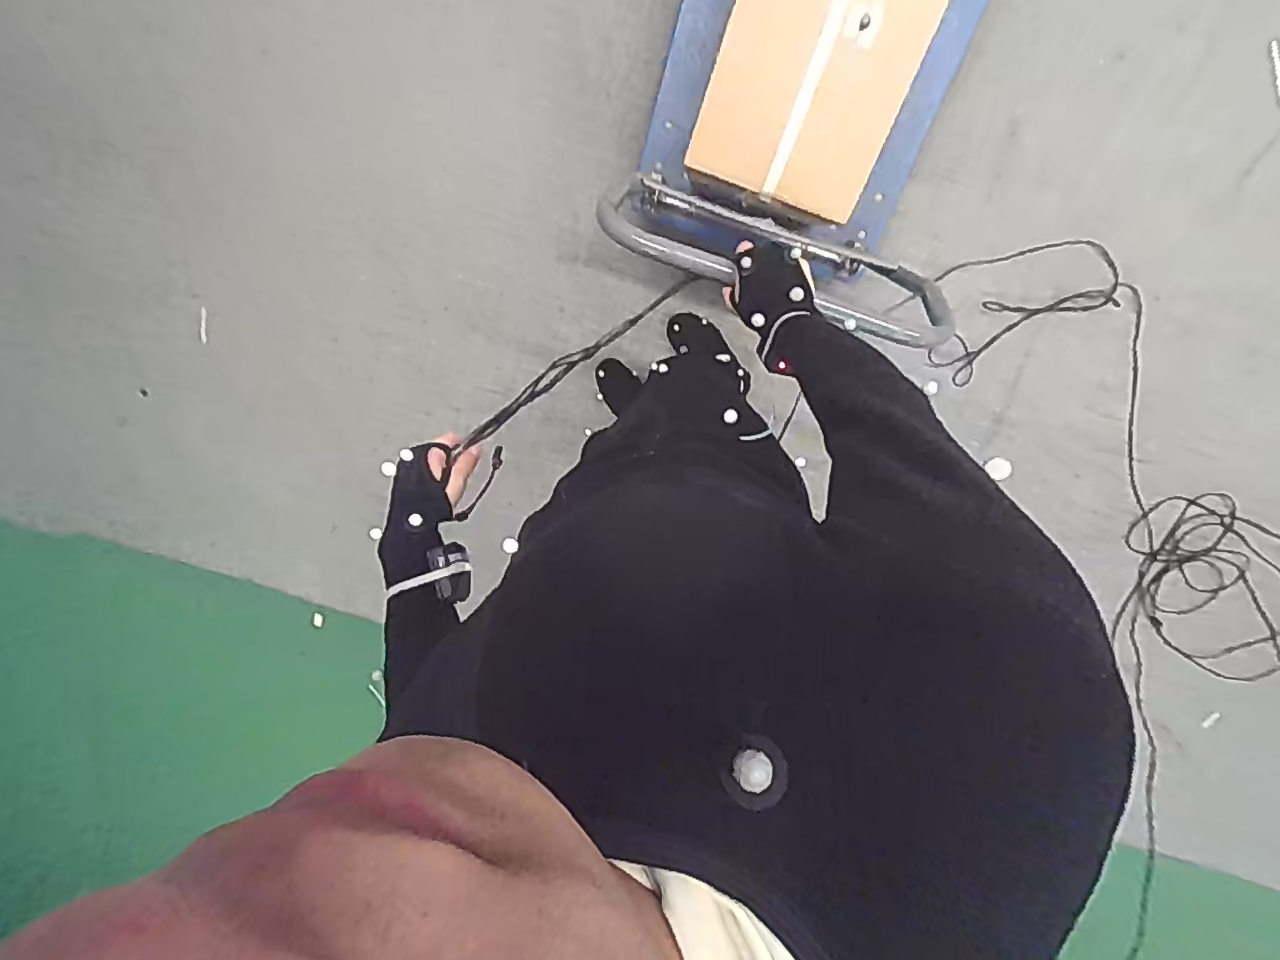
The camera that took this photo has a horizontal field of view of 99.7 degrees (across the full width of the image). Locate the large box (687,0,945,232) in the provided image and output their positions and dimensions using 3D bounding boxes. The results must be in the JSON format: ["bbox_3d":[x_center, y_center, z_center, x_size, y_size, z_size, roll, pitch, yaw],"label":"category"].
[{"bbox_3d":[0.303,-0.731,1.030,0.320,0.320,0.408,20,114,-3],"label":"large box"}]
